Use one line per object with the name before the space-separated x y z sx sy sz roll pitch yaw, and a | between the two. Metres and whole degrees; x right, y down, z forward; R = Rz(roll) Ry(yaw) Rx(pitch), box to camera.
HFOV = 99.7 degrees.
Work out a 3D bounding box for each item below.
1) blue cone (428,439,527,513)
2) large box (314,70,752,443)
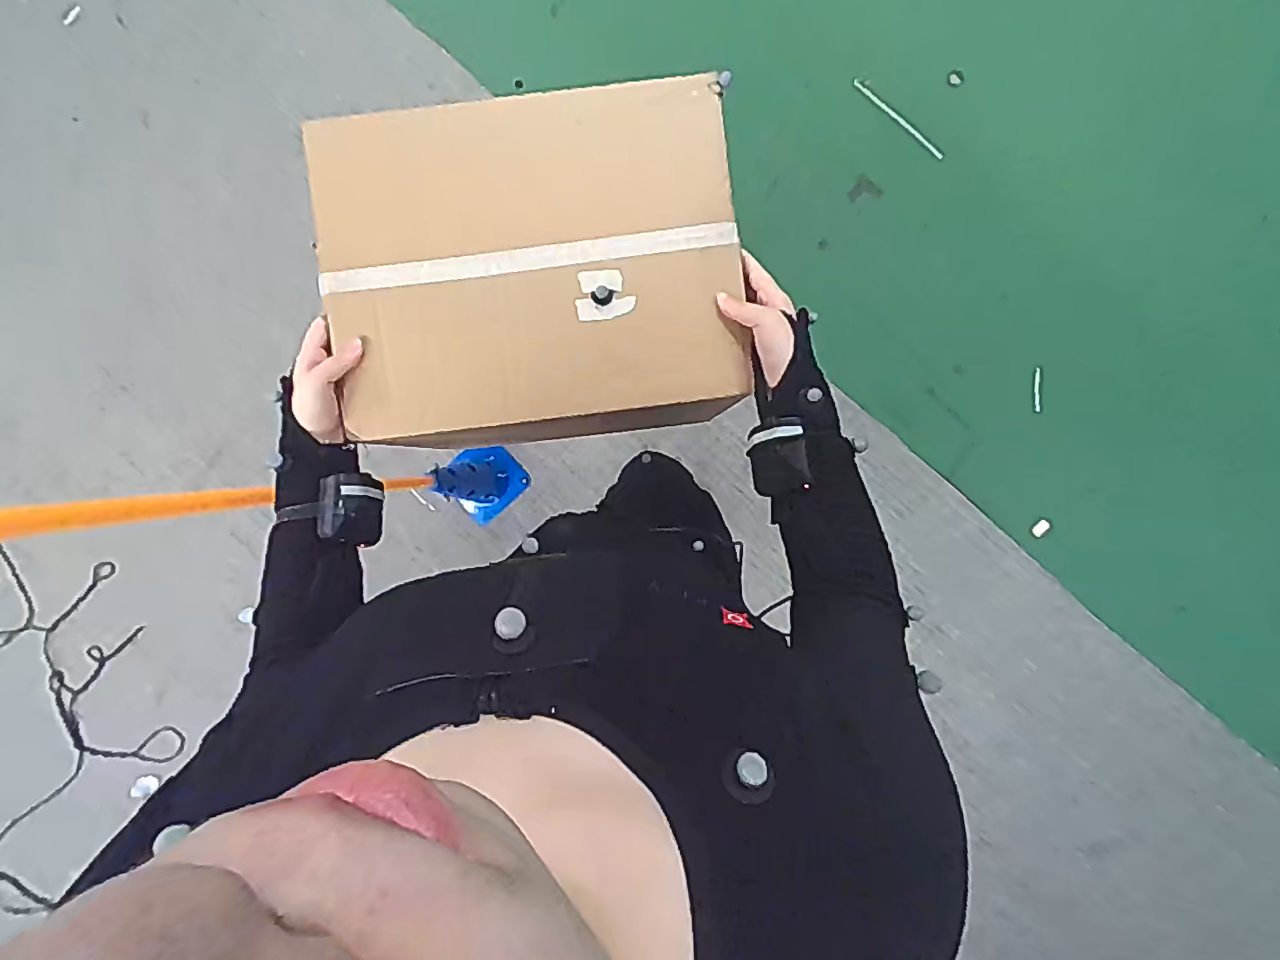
blue cone | -0.445 -0.019 1.356 0.192 0.380 0.193 -40 89 1
large box | -0.107 -0.231 0.680 0.408 0.320 0.320 -7 92 -2
